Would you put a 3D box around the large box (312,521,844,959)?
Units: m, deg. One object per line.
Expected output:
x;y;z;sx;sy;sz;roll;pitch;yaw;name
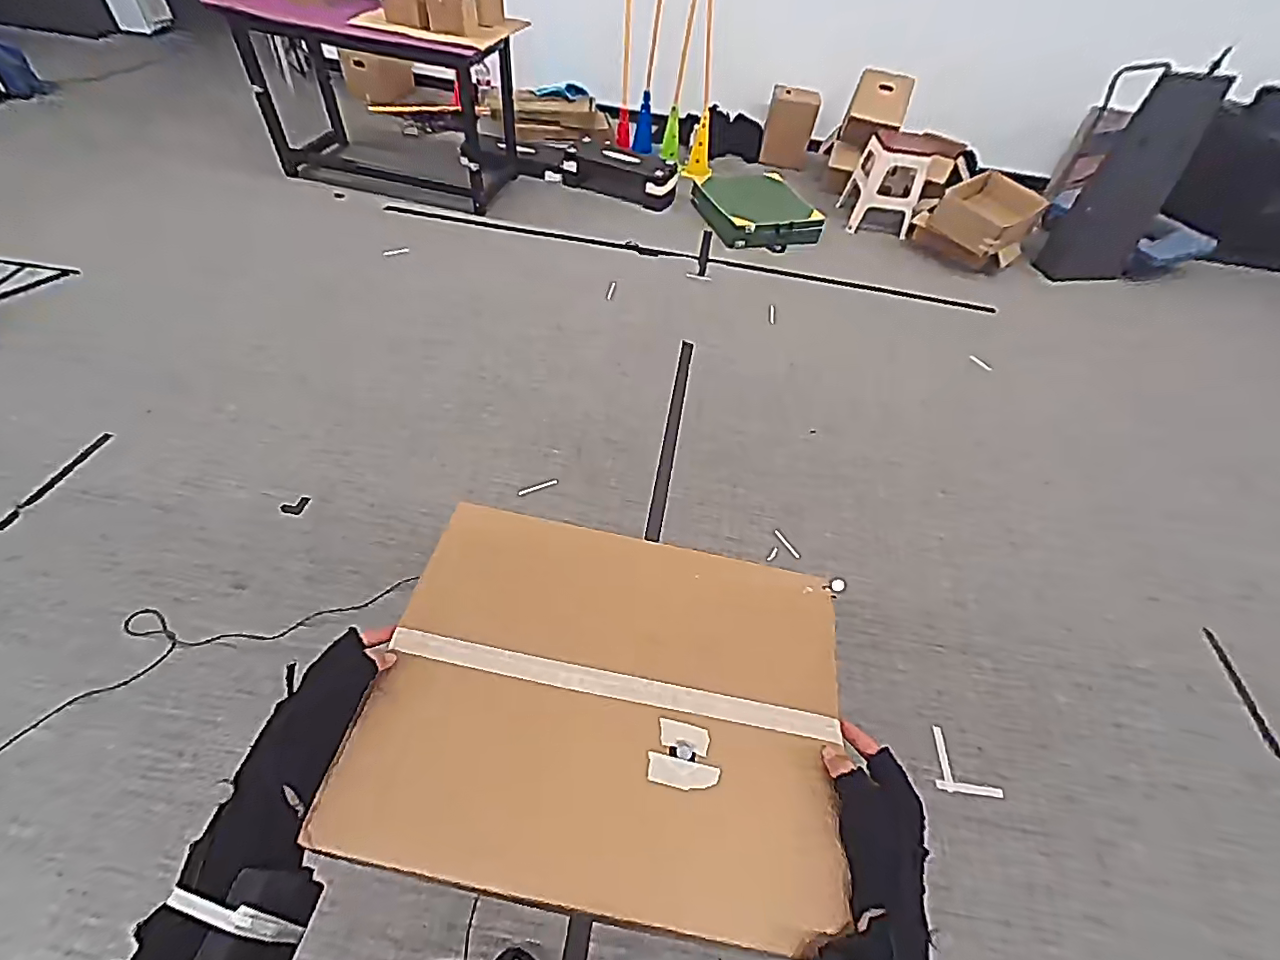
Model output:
-0.043;0.288;0.599;0.408;0.320;0.320;12;51;1;large box
